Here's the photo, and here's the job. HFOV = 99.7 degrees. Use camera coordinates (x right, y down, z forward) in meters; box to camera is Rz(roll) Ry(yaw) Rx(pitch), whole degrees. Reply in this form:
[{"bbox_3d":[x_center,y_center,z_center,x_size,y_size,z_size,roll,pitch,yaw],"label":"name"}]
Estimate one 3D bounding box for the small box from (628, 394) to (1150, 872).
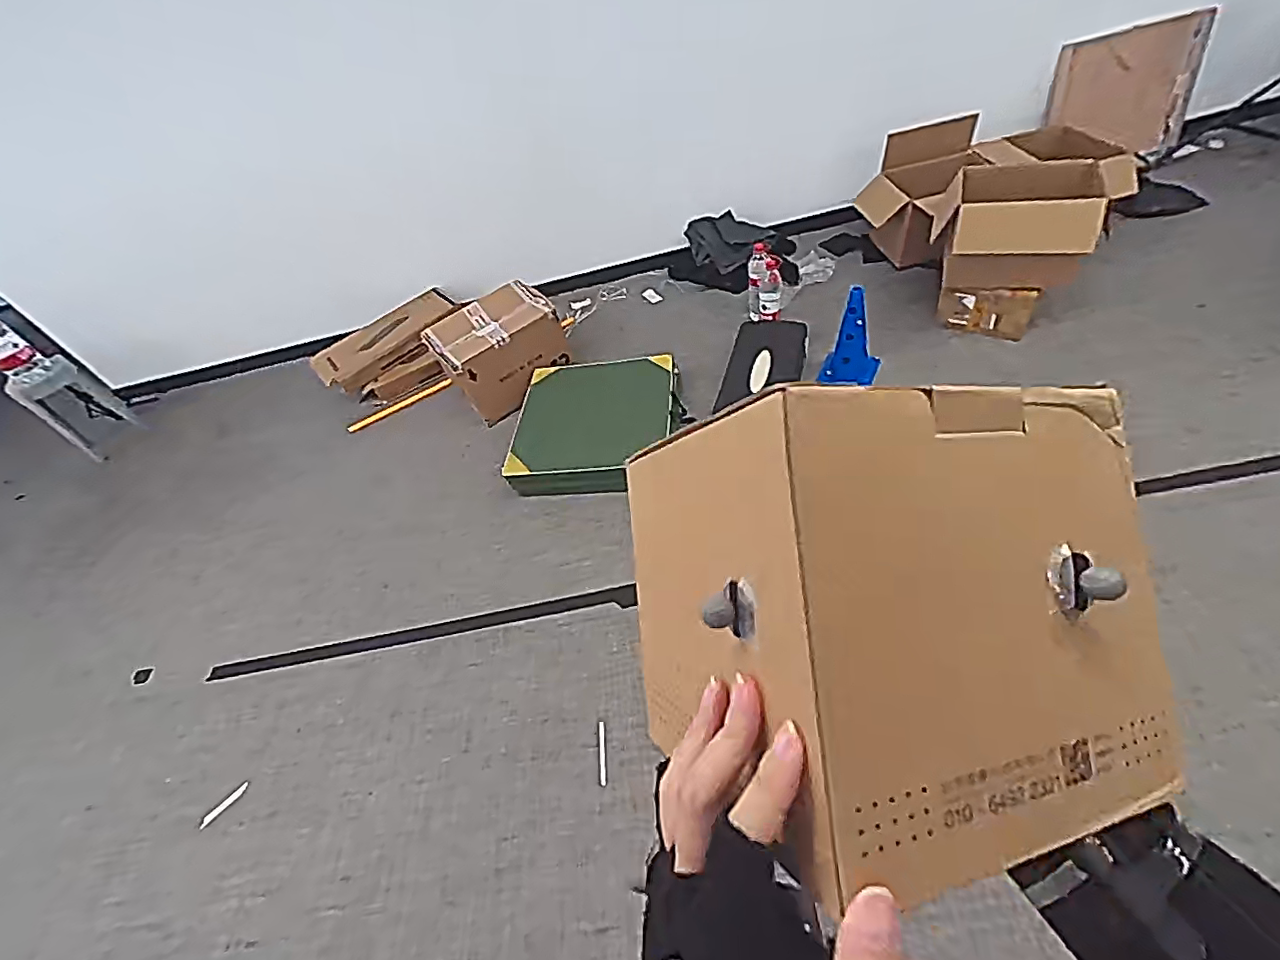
[{"bbox_3d":[0.101,0.061,0.275,0.168,0.179,0.176,-4,85,-17],"label":"small box"}]
